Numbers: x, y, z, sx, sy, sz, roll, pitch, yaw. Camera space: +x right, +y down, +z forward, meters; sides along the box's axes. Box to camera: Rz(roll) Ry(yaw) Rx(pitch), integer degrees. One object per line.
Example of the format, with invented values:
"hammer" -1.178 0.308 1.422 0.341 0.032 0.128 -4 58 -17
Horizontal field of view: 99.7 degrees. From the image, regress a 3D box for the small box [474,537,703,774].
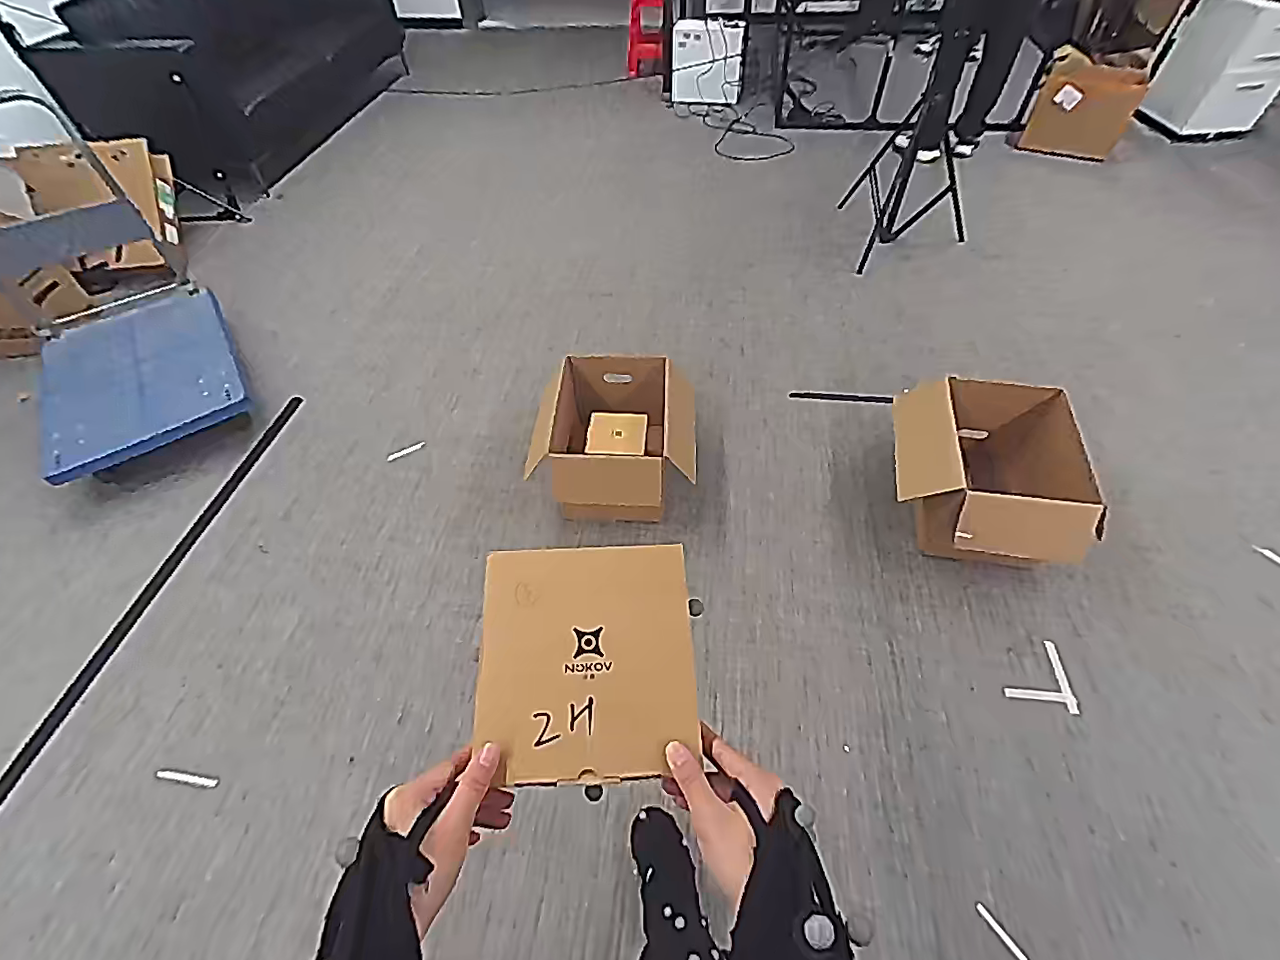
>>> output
"small box" -0.043 0.165 0.491 0.168 0.176 0.179 -2 63 -3
